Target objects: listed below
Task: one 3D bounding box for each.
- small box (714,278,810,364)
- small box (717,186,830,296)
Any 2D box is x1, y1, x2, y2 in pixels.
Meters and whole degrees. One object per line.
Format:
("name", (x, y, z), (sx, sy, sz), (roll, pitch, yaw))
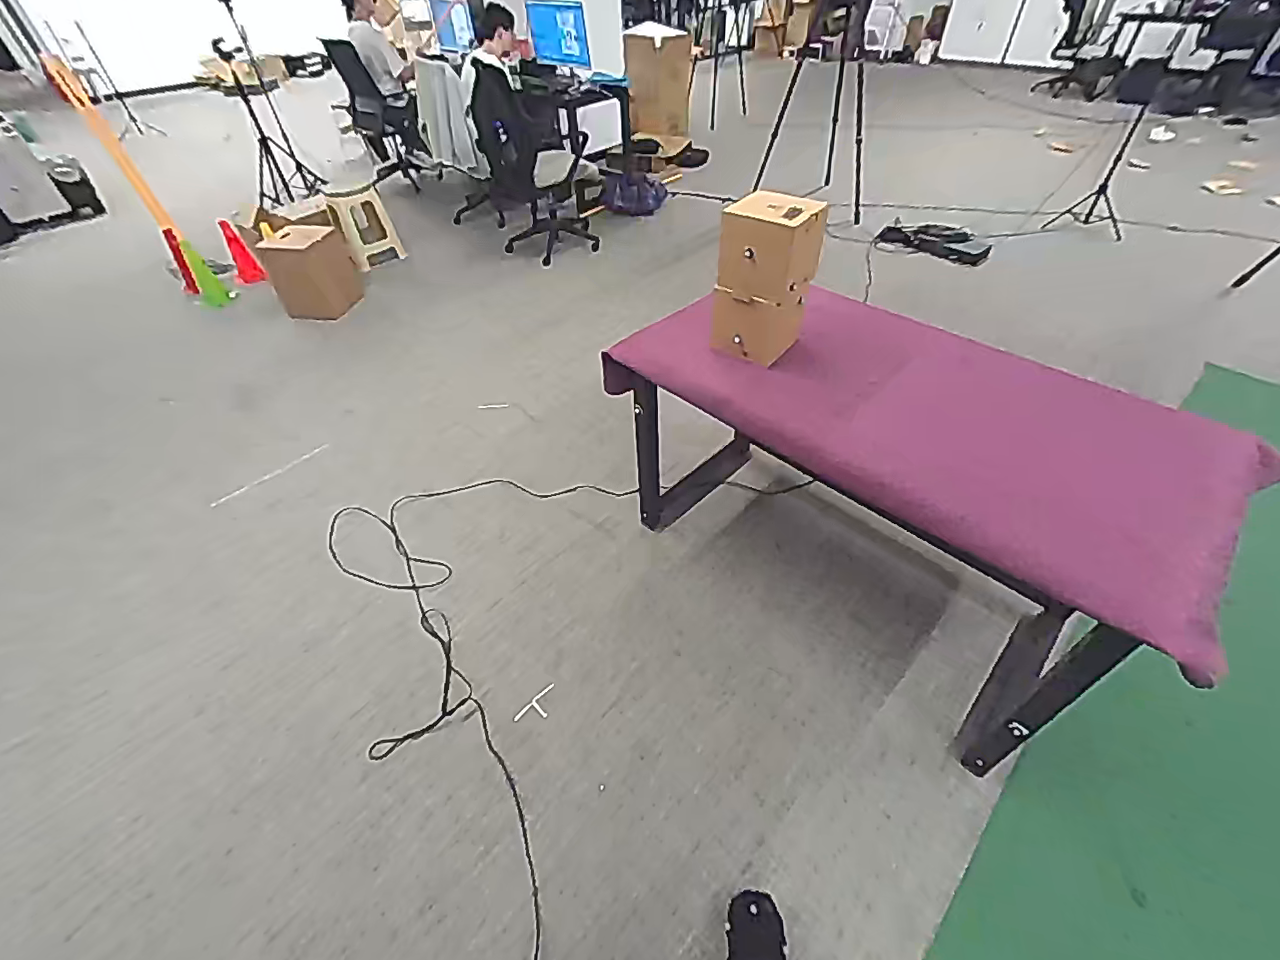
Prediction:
("small box", (0.292, -0.414, 1.329), (0.168, 0.176, 0.179), (28, 53, 28))
("small box", (0.292, -0.531, 1.209), (0.179, 0.176, 0.168), (30, 52, 29))
